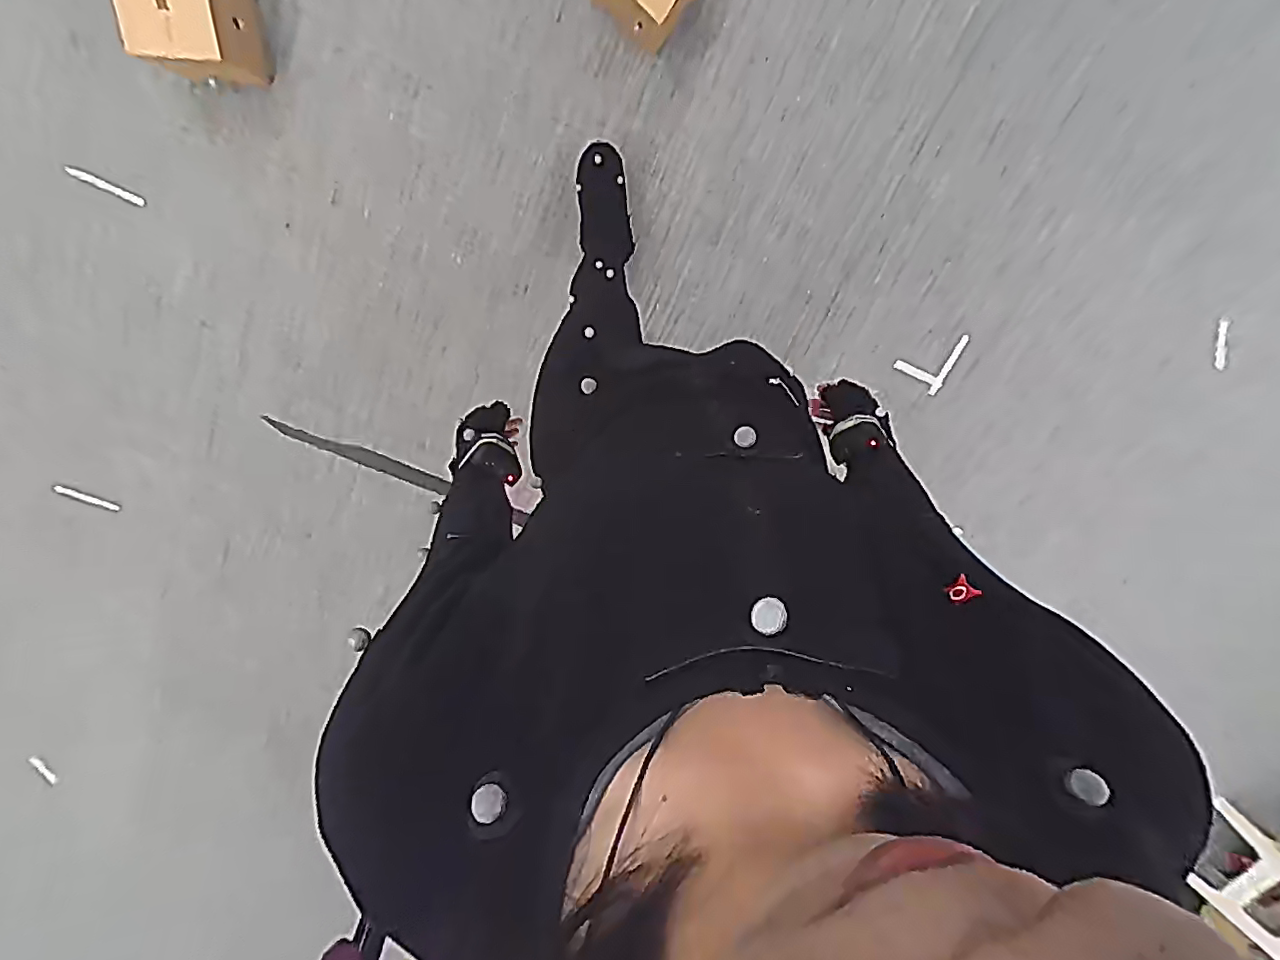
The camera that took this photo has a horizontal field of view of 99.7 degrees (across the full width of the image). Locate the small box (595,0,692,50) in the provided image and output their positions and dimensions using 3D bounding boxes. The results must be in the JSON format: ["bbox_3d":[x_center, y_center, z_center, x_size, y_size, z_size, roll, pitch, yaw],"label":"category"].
[{"bbox_3d":[0.017,-0.993,1.056,0.179,0.176,0.168,35,104,-16],"label":"small box"}]

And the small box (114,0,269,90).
[{"bbox_3d":[-0.847,-0.875,1.027,0.168,0.176,0.179,1,113,-5],"label":"small box"}]
